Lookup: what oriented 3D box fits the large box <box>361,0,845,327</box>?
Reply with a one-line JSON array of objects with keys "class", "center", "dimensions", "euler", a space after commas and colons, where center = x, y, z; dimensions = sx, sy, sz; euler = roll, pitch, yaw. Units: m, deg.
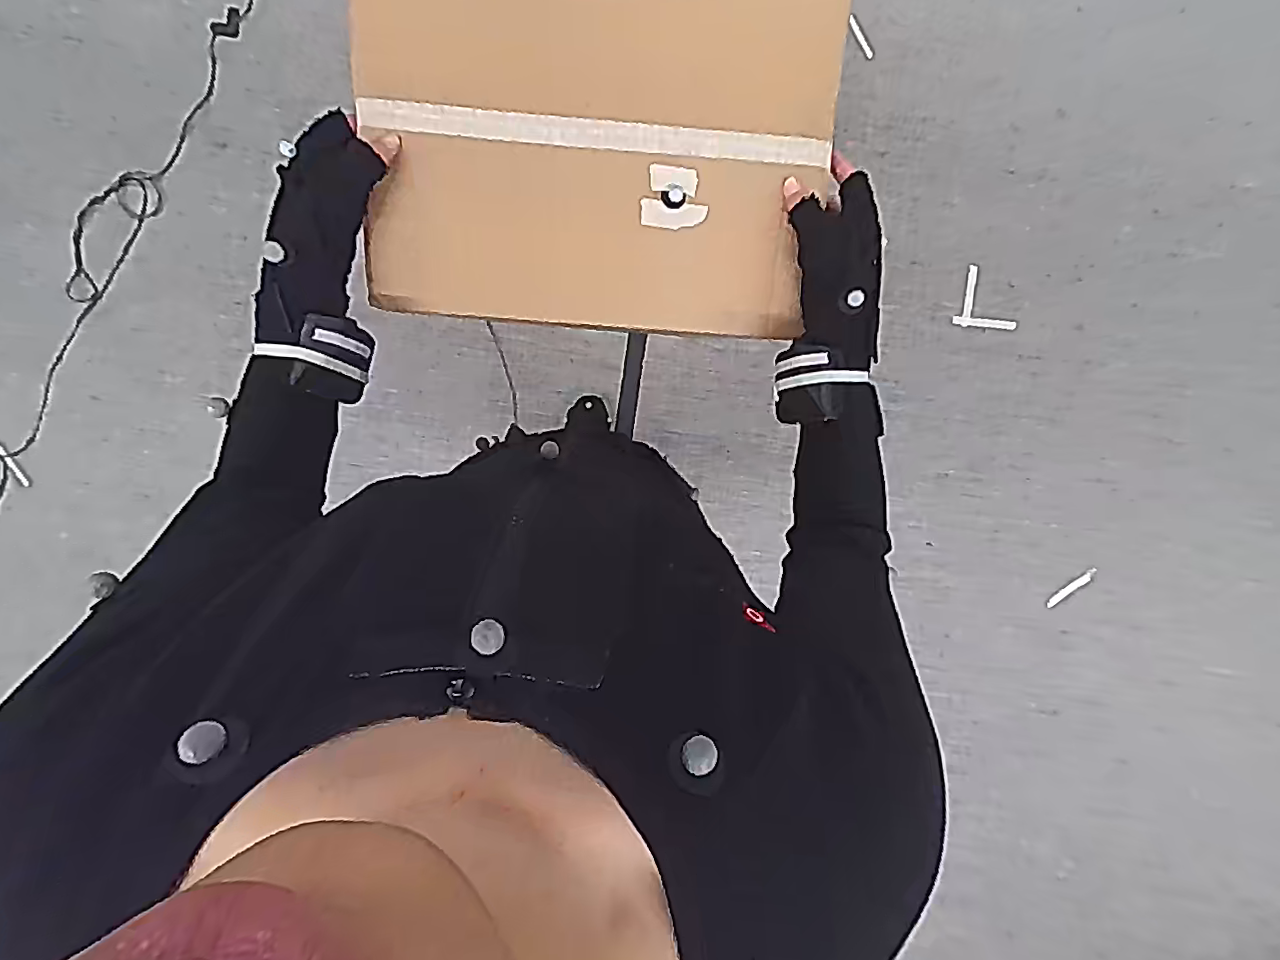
[{"class": "large box", "center": [-0.041, -0.343, 0.611], "dimensions": [0.408, 0.320, 0.320], "euler": [3, 106, -4]}]
